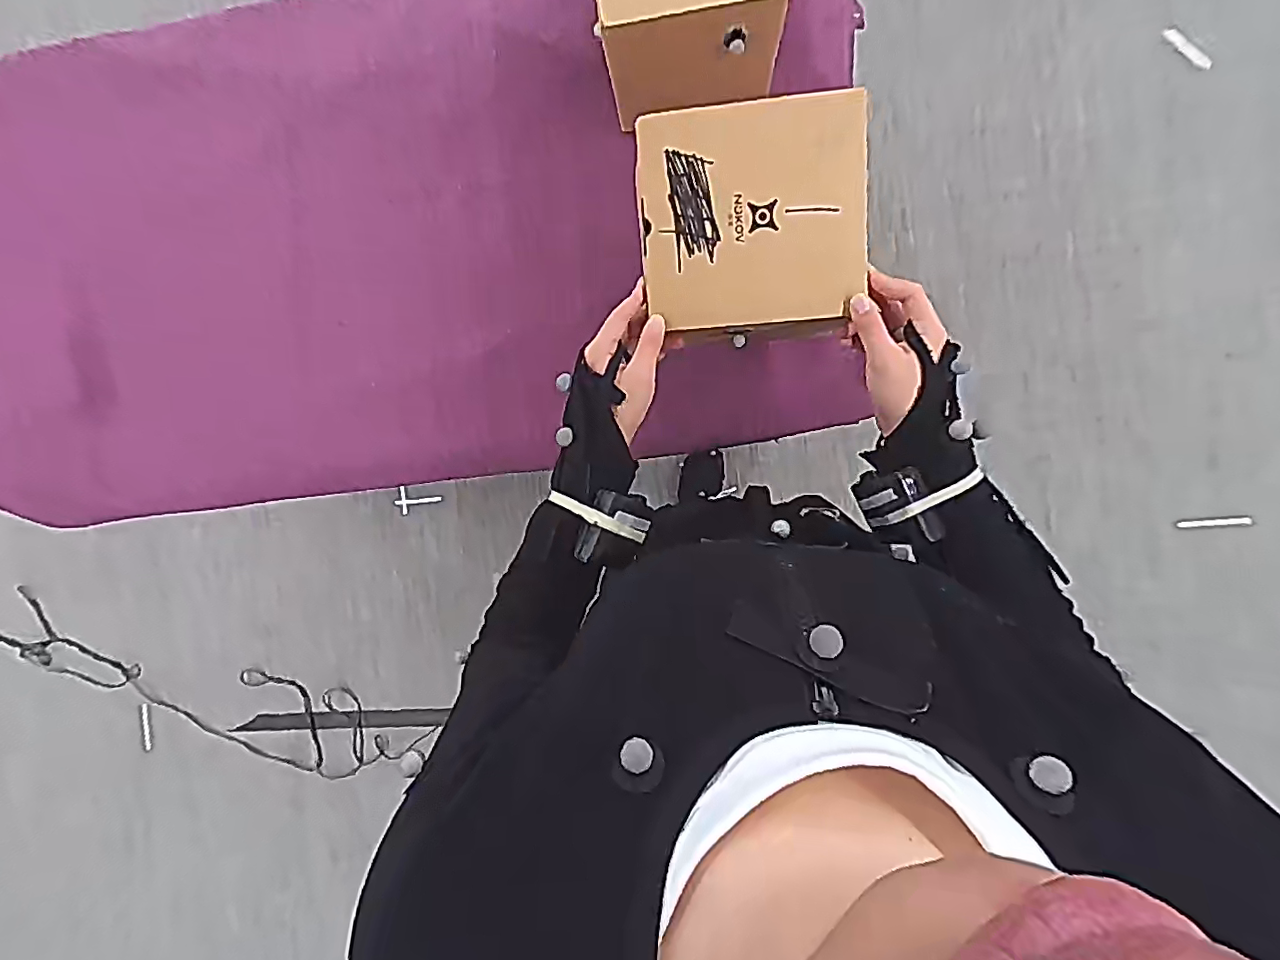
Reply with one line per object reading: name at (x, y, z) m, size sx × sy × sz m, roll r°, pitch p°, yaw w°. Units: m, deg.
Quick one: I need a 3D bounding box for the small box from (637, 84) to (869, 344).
small box at (0.098, -0.220, 0.499) m, size 0.179 × 0.176 × 0.168 m, roll -2°, pitch 99°, yaw 8°

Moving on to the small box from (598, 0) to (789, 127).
small box at (0.049, -0.509, 0.565) m, size 0.179 × 0.176 × 0.168 m, roll -5°, pitch 92°, yaw 6°
